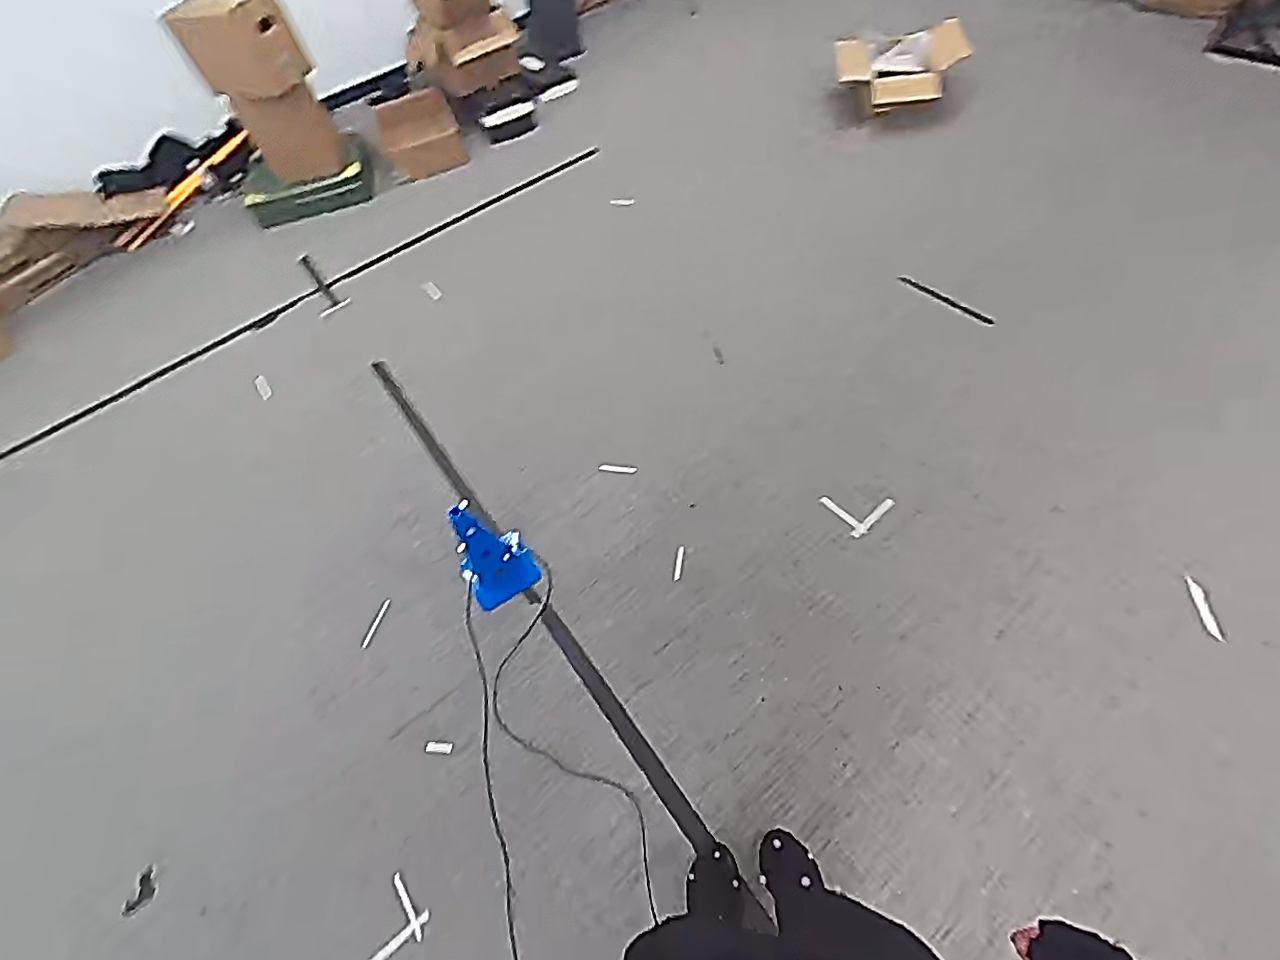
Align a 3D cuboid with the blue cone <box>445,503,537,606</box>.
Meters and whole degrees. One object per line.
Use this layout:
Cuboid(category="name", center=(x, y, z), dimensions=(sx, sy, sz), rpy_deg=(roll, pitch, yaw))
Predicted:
Cuboid(category="blue cone", center=(-0.433, 0.176, 1.468), dimensions=(0.193, 0.380, 0.192), rpy_deg=(-33, 59, -13))
